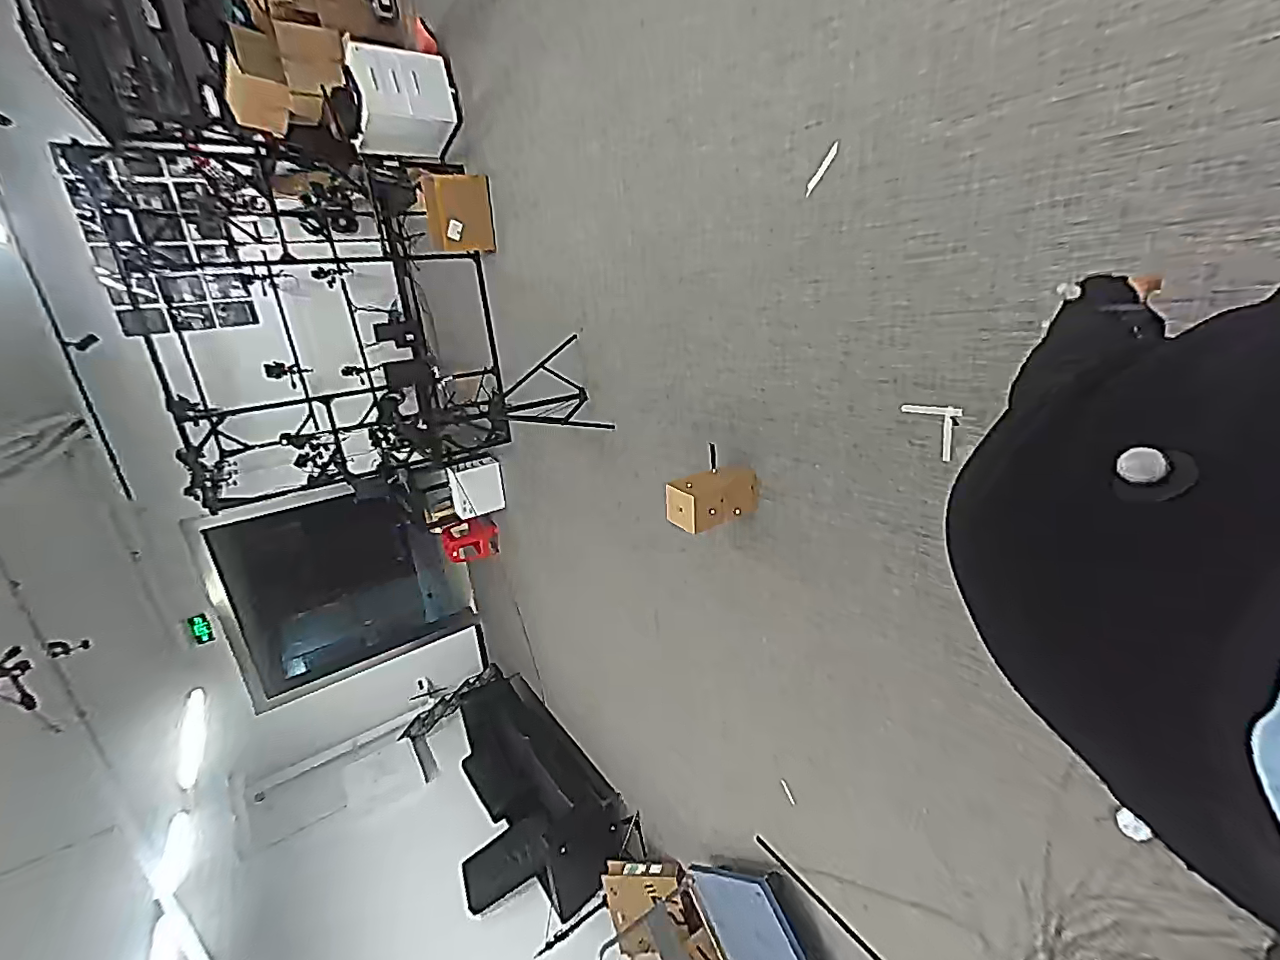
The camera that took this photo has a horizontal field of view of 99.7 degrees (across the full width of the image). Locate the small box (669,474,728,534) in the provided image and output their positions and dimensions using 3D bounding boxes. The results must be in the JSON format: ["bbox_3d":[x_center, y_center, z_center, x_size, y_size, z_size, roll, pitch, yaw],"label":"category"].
[{"bbox_3d":[0.235,0.089,2.152,0.179,0.176,0.168,28,127,51],"label":"small box"}]
